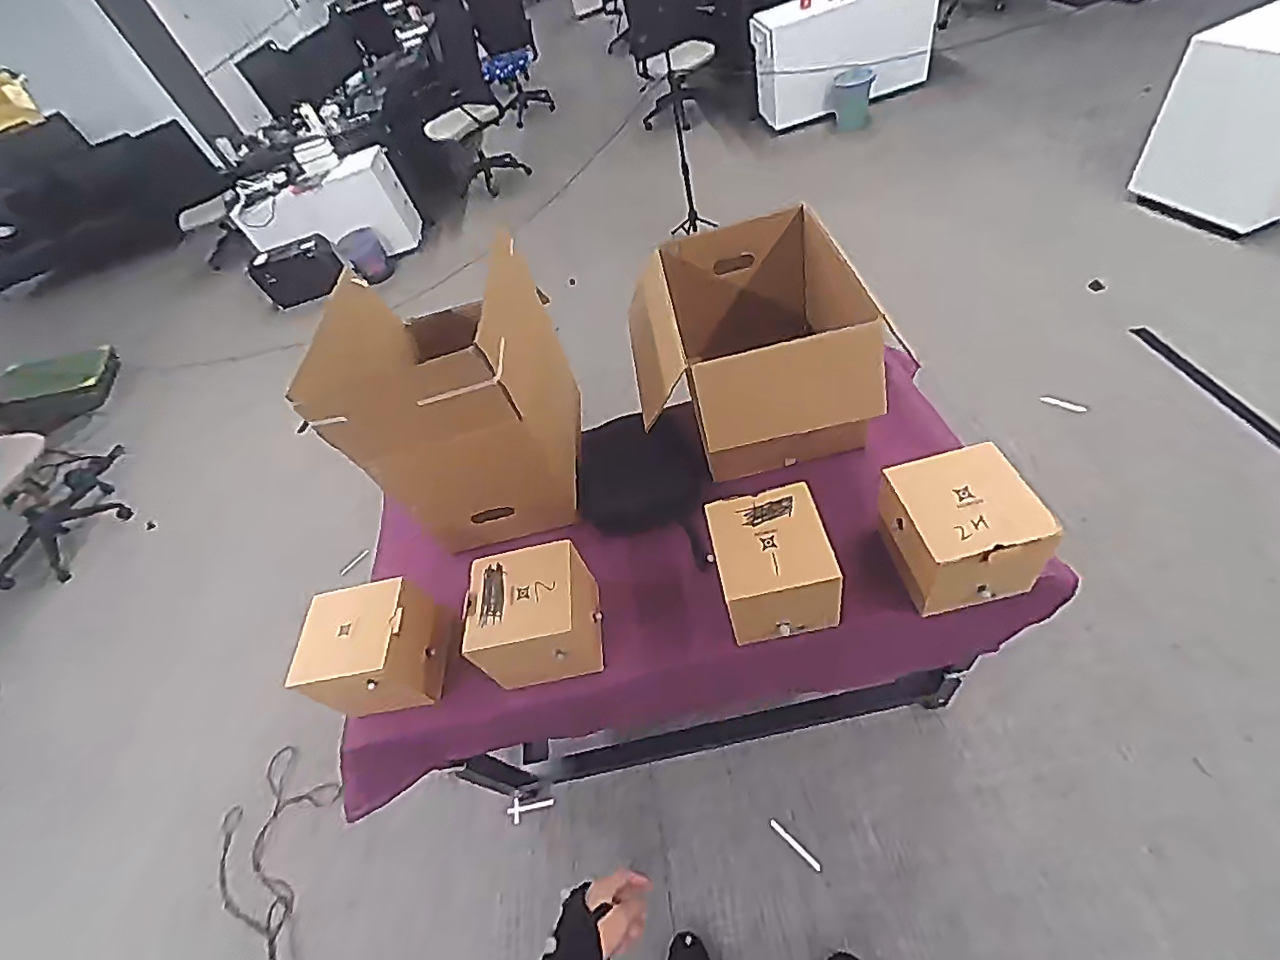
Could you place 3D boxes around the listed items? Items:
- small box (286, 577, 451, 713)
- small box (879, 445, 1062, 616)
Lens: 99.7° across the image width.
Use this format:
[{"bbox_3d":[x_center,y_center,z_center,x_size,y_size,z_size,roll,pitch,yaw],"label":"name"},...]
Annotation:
[{"bbox_3d":[-0.462,0.295,0.950,0.179,0.176,0.168,-12,49,6],"label":"small box"},{"bbox_3d":[0.479,0.080,0.822,0.168,0.176,0.179,-15,49,7],"label":"small box"}]
